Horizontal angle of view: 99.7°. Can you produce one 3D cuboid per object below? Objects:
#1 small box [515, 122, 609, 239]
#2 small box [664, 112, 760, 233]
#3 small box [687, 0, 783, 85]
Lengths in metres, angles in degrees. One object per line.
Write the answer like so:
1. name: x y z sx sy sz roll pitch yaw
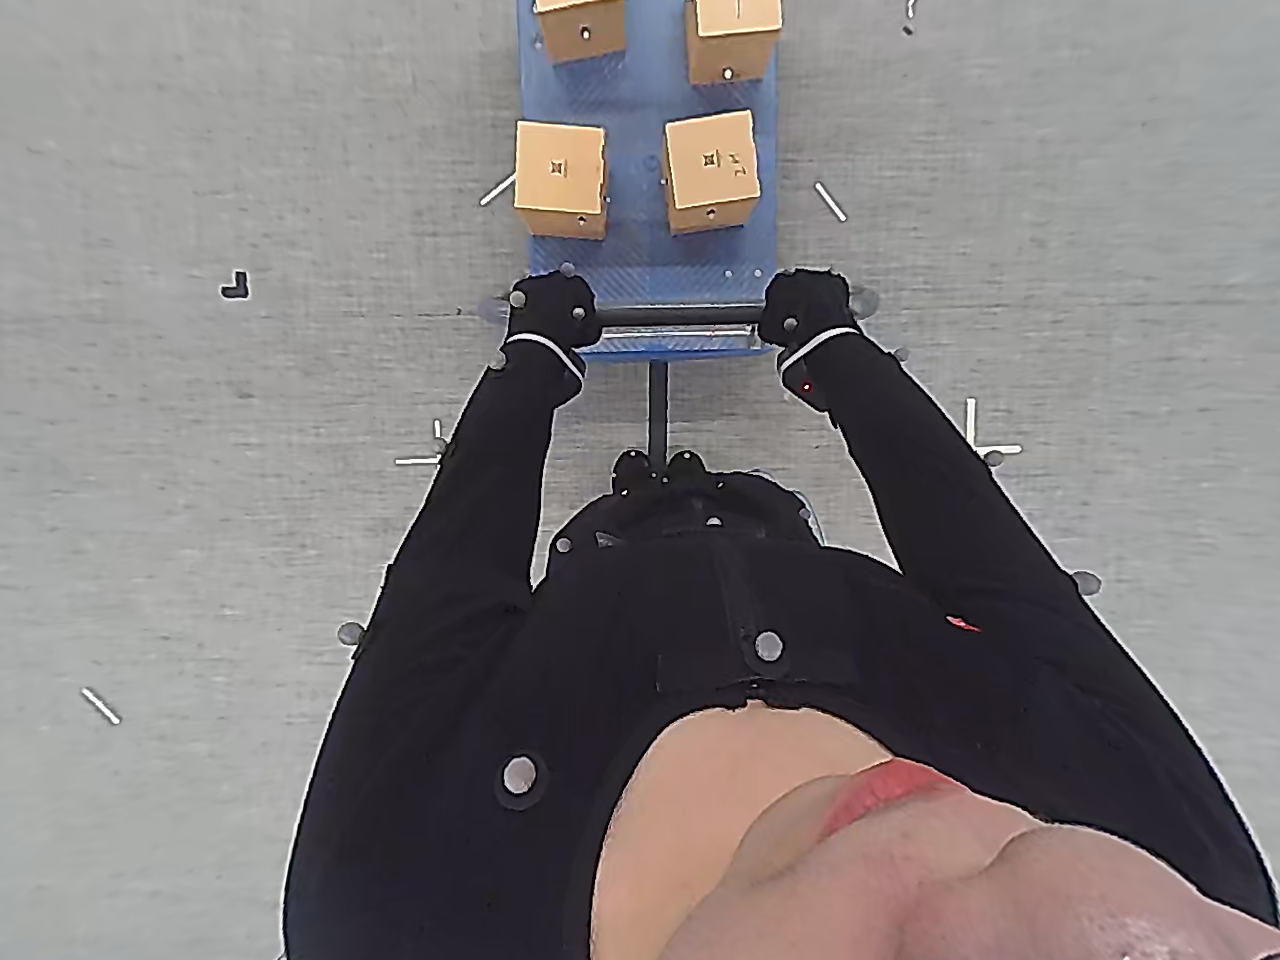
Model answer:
1. small box: -0.162 -0.632 1.159 0.179 0.176 0.168 3 97 -2
2. small box: 0.147 -0.646 1.157 0.179 0.176 0.168 -8 98 1
3. small box: 0.189 -0.962 1.115 0.168 0.176 0.179 -5 99 1
